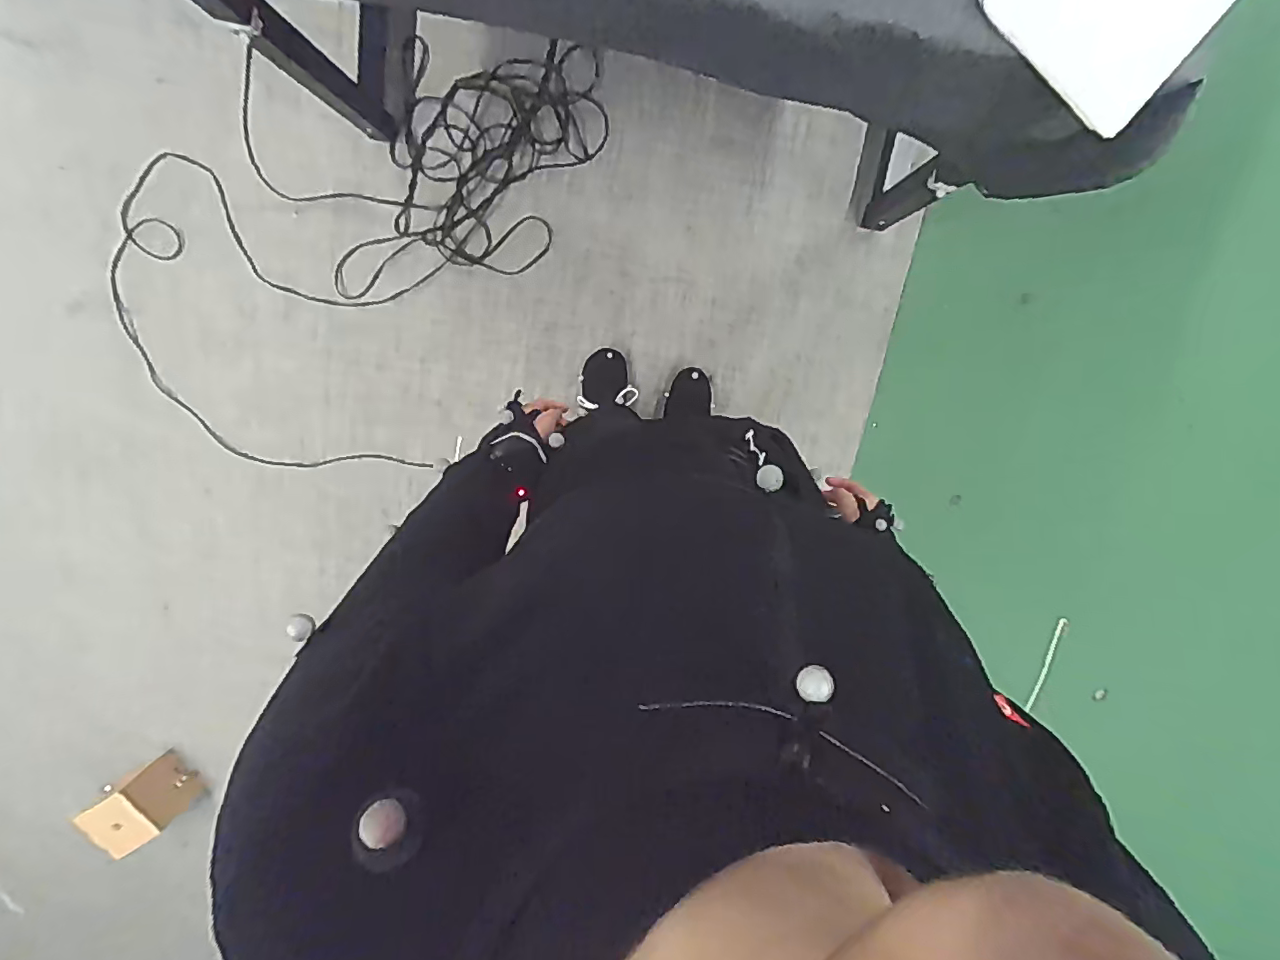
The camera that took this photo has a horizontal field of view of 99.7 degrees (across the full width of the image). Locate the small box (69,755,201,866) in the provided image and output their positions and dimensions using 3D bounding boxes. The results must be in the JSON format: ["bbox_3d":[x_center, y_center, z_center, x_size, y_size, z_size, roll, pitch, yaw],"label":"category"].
[{"bbox_3d":[-1.413,0.925,1.527,0.179,0.176,0.168,-33,102,7],"label":"small box"}]
